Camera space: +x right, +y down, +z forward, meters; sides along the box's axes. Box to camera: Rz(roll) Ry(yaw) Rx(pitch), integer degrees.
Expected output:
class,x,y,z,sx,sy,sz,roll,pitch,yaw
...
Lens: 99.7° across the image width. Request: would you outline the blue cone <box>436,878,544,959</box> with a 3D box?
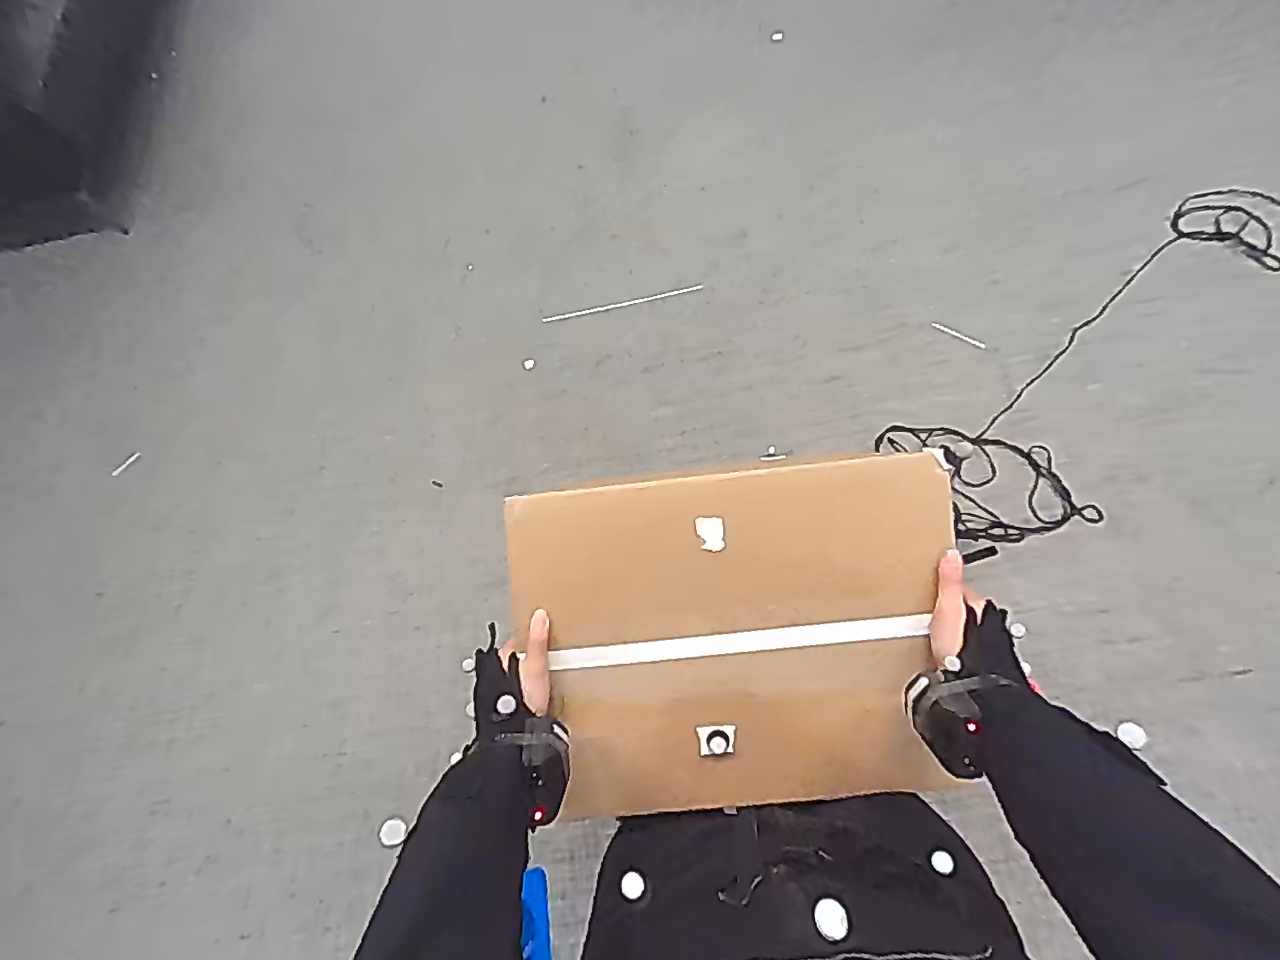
class,x,y,z,sx,sy,sz,roll,pitch,yaw
blue cone,-0.309,0.849,0.924,0.192,0.380,0.193,-10,67,6
